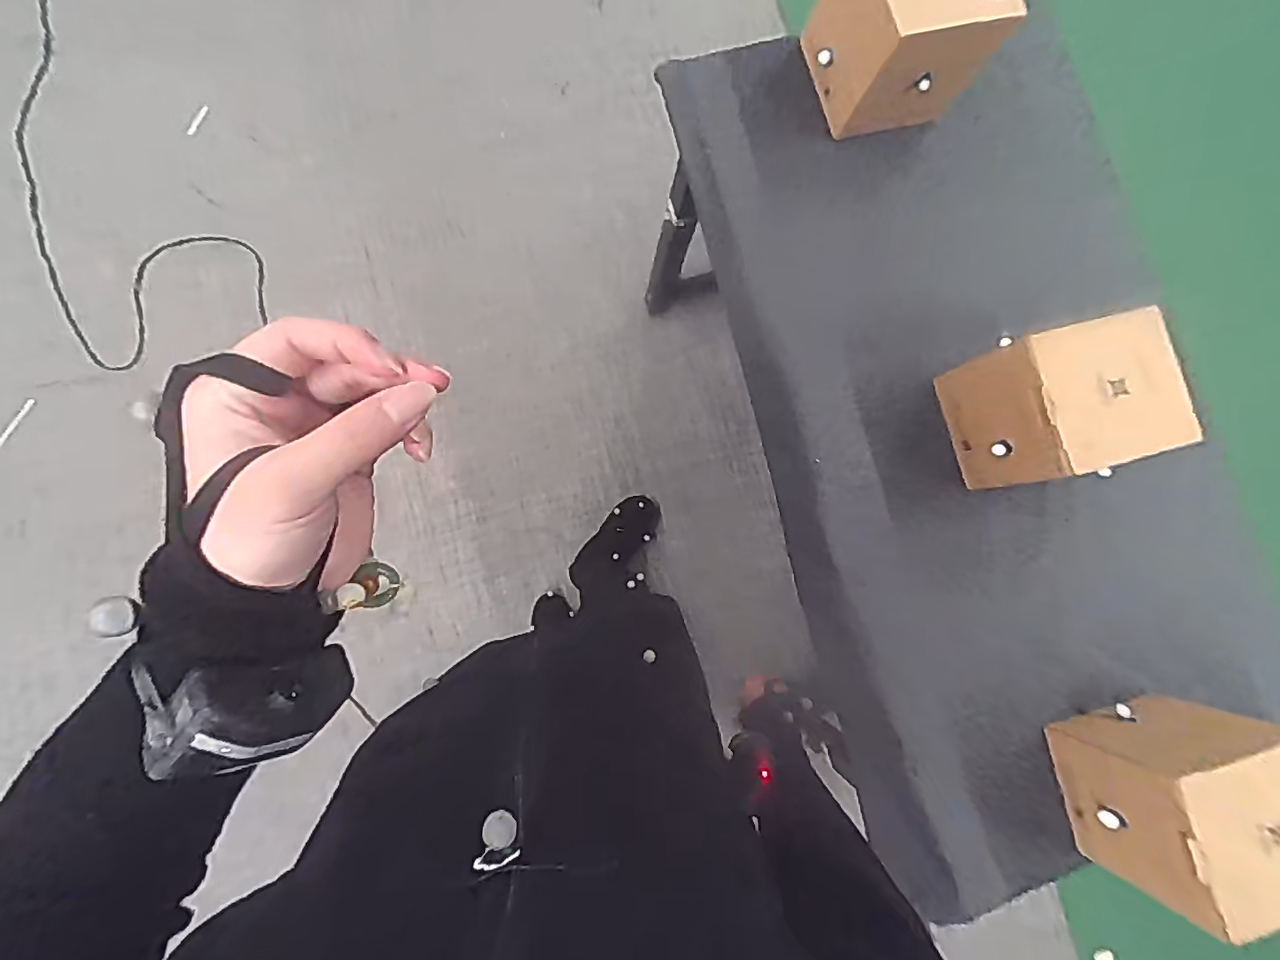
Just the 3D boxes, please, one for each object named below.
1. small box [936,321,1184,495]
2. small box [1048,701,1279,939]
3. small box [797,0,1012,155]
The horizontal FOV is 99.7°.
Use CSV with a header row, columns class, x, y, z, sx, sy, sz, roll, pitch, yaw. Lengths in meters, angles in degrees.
class,x,y,z,sx,sy,sz,roll,pitch,yaw
small box,0.519,-0.081,0.700,0.179,0.176,0.168,-15,86,-9
small box,0.643,0.390,0.655,0.179,0.176,0.168,-12,84,-7
small box,0.344,-0.583,0.735,0.179,0.176,0.168,-16,86,-8
